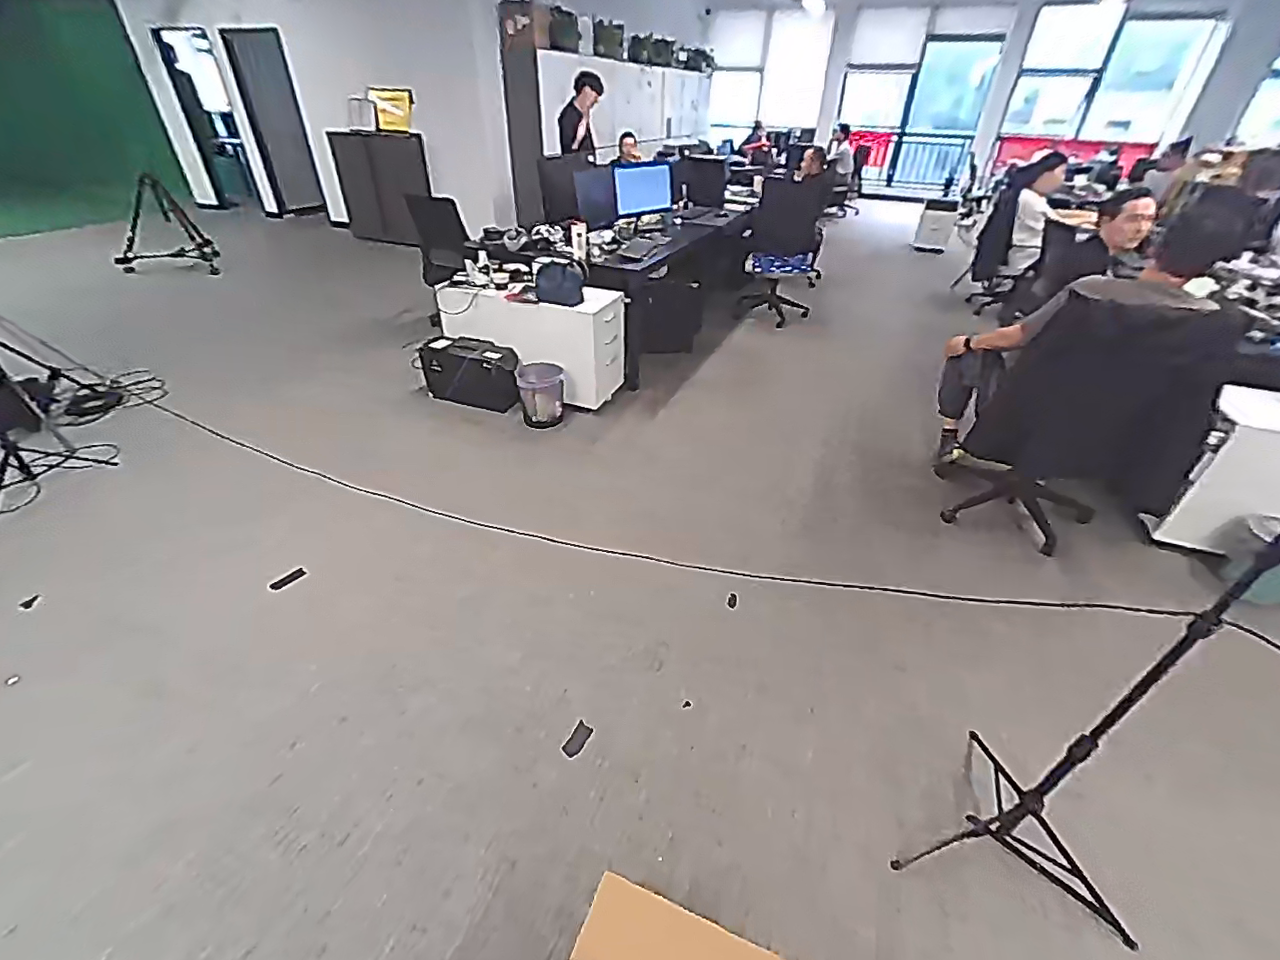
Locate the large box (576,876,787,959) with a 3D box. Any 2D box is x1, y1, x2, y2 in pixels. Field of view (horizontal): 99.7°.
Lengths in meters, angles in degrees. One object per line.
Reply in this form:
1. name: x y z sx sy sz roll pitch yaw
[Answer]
1. large box: 0.059 1.005 0.952 0.408 0.320 0.320 15 38 17
